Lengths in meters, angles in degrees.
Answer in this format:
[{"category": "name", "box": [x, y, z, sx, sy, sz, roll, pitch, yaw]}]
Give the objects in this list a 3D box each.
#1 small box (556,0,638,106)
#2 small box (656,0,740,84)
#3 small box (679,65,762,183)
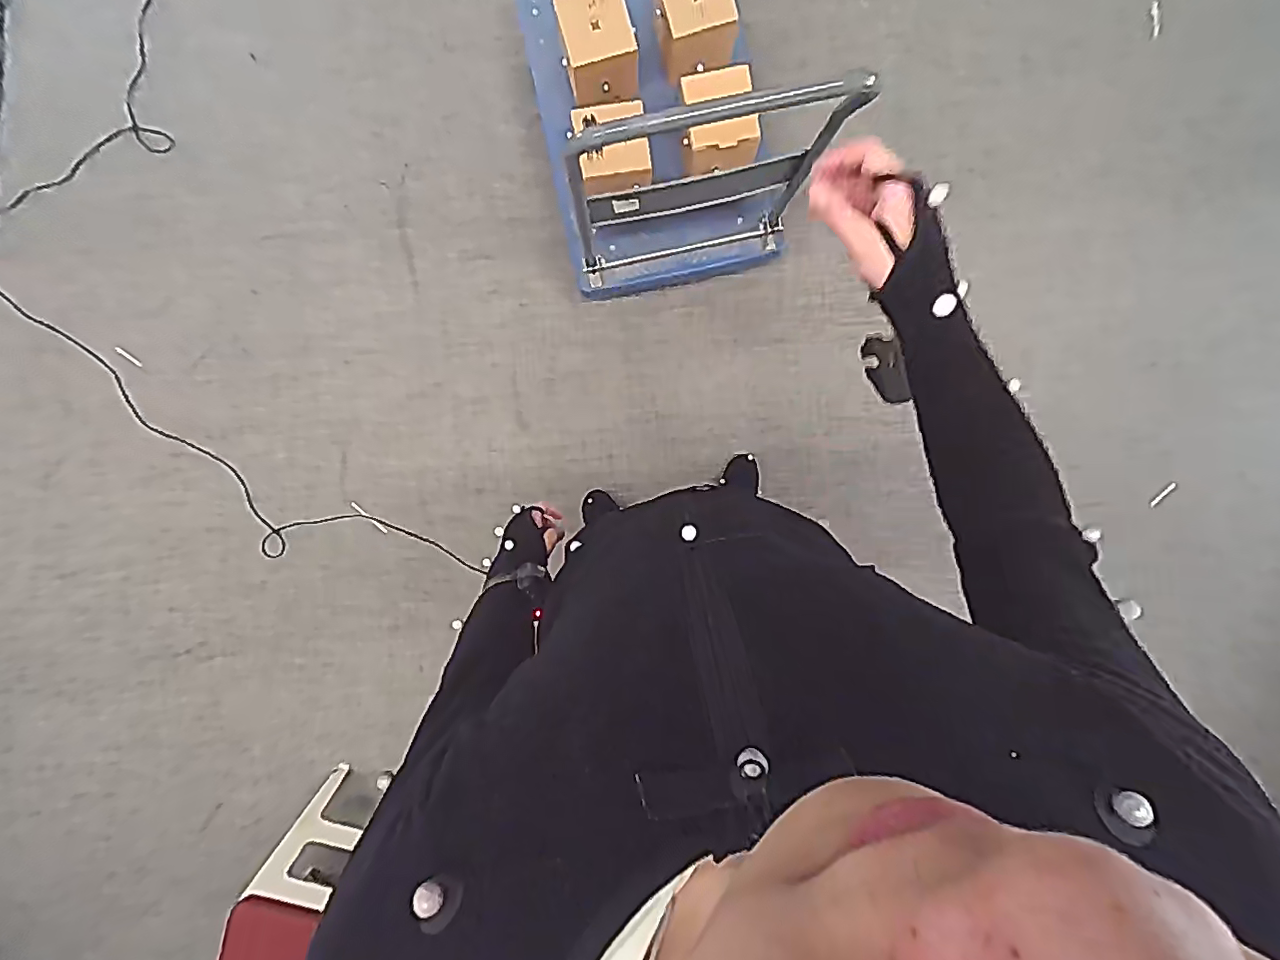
[{"category": "small box", "box": [-0.102, -1.093, 1.374, 0.168, 0.176, 0.179, -16, 91, 0]}, {"category": "small box", "box": [0.140, -1.163, 1.370, 0.168, 0.176, 0.179, -15, 92, 2]}, {"category": "small box", "box": [0.198, -0.899, 1.377, 0.168, 0.176, 0.179, -11, 92, 1]}]
